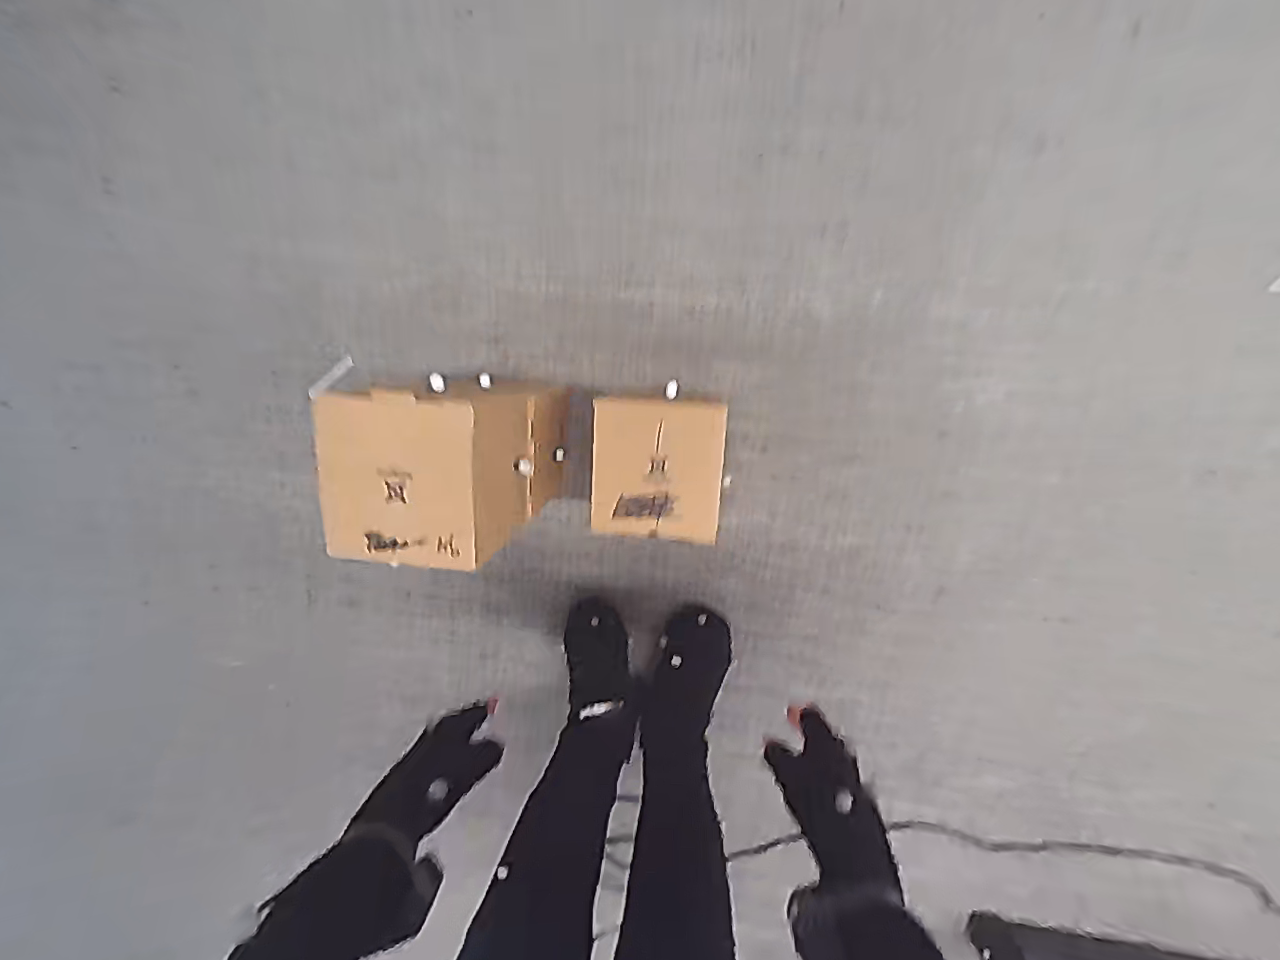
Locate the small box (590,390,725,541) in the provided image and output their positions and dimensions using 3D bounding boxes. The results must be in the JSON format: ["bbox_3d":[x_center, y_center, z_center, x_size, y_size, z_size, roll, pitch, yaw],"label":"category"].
[{"bbox_3d":[0.029,-0.030,0.767,0.168,0.176,0.179,5,103,5],"label":"small box"}]

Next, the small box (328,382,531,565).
[{"bbox_3d":[-0.233,-0.020,0.634,0.168,0.176,0.179,6,103,5],"label":"small box"}]
